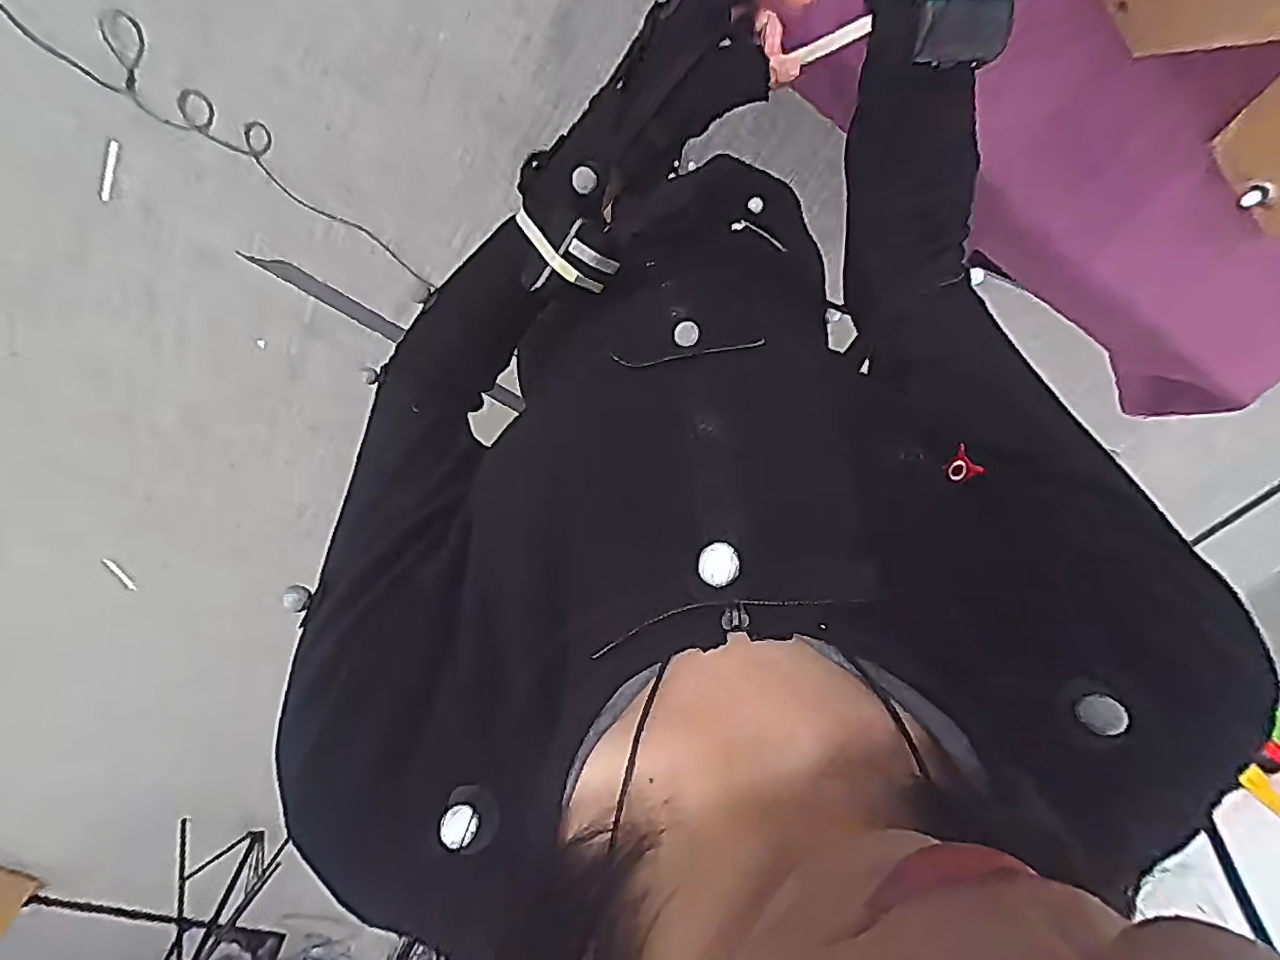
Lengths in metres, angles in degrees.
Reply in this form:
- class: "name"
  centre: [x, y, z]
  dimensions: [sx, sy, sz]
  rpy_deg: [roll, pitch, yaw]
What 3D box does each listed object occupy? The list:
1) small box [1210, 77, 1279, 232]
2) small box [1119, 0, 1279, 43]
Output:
- class: "small box"
  centre: [0.754, -0.357, 0.533]
  dimensions: [0.168, 0.176, 0.179]
  rpy_deg: [29, 118, -19]
- class: "small box"
  centre: [0.507, -0.494, 0.425]
  dimensions: [0.168, 0.176, 0.179]
  rpy_deg: [33, 115, -22]
